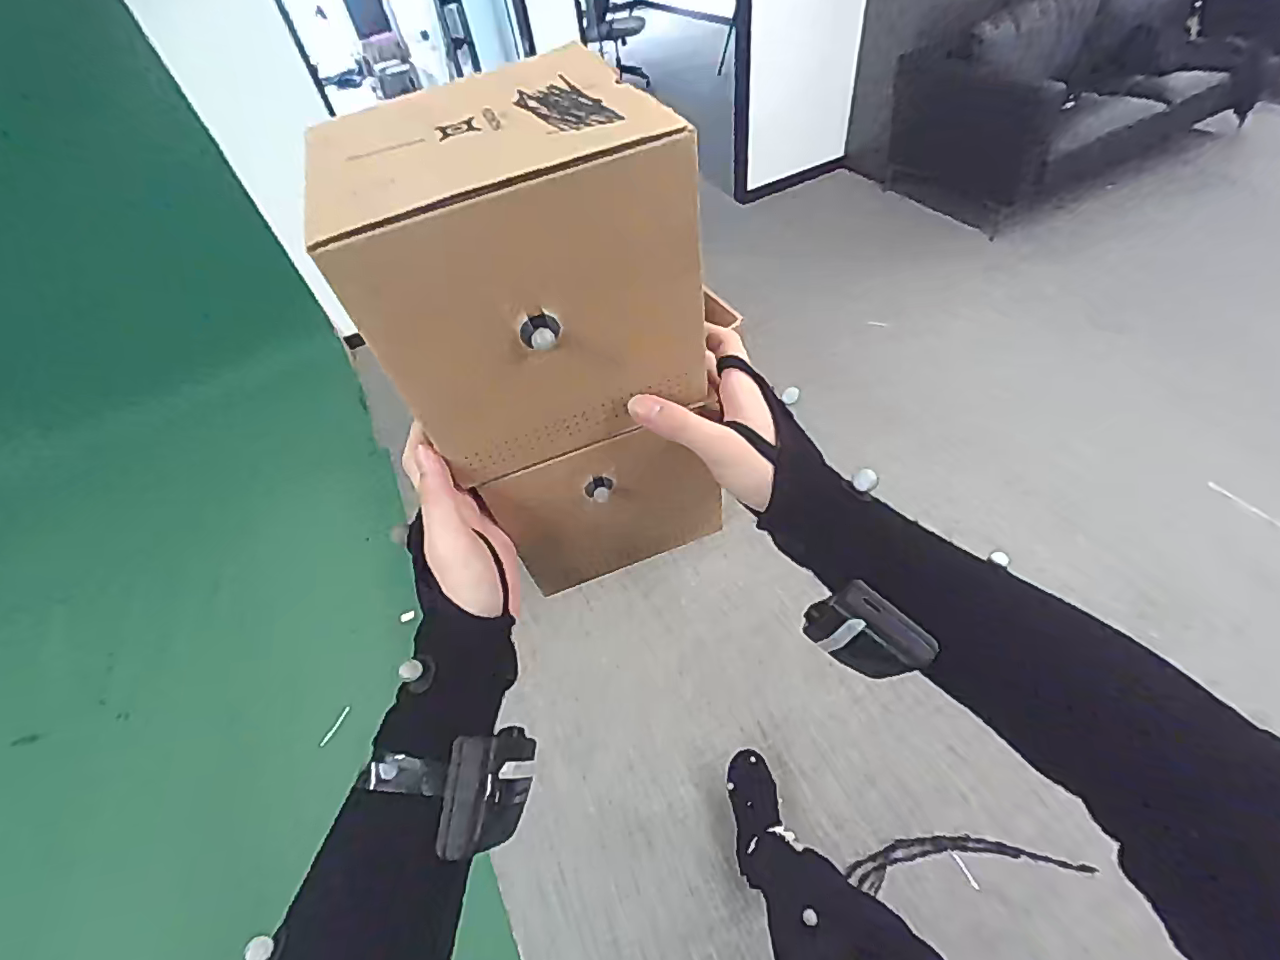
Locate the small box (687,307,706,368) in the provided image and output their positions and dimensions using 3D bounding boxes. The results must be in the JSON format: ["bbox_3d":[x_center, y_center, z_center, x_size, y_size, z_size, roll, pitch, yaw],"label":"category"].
[{"bbox_3d":[0.068,-0.403,1.515,0.179,0.176,0.168,-29,49,-12],"label":"small box"}]

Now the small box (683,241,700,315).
[{"bbox_3d":[0.039,-0.512,1.395,0.179,0.176,0.168,-28,49,-13],"label":"small box"}]

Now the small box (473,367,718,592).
[{"bbox_3d":[-0.041,-0.027,0.478,0.179,0.176,0.168,-20,51,-5],"label":"small box"}]

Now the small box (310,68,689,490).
[{"bbox_3d":[-0.076,-0.125,0.350,0.179,0.176,0.168,-23,51,-6],"label":"small box"}]
